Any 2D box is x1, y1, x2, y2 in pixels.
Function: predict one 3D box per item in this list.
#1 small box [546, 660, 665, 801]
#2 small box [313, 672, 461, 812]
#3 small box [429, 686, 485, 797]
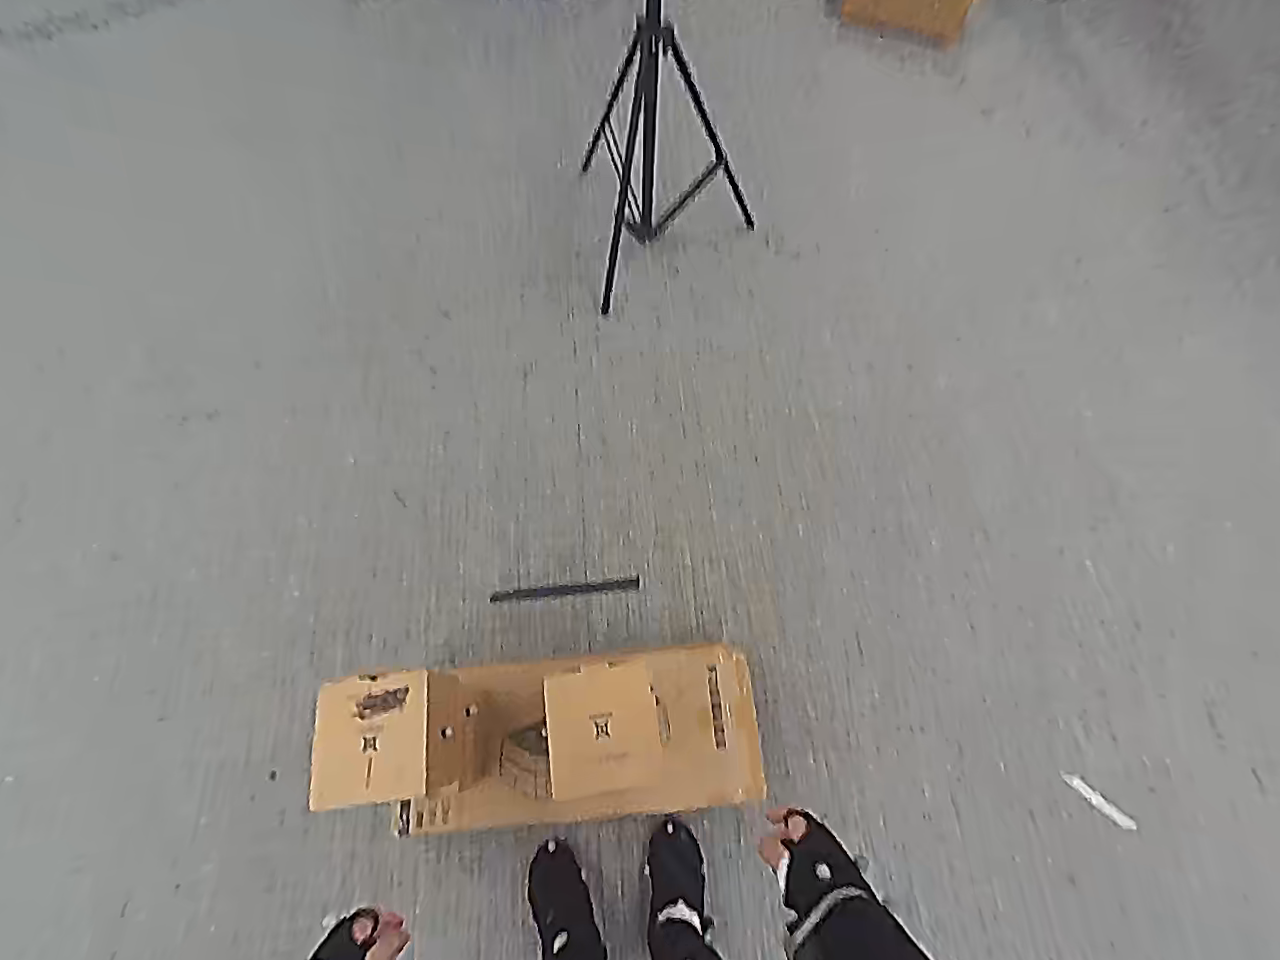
[{"bbox_3d":[-0.056,0.407,0.894,0.168,0.176,0.179,-9,68,-3],"label":"small box"},{"bbox_3d":[-0.397,0.418,0.880,0.168,0.176,0.179,-6,68,-4],"label":"small box"},{"bbox_3d":[-0.397,0.495,1.025,0.168,0.176,0.179,-4,68,-3],"label":"small box"}]
